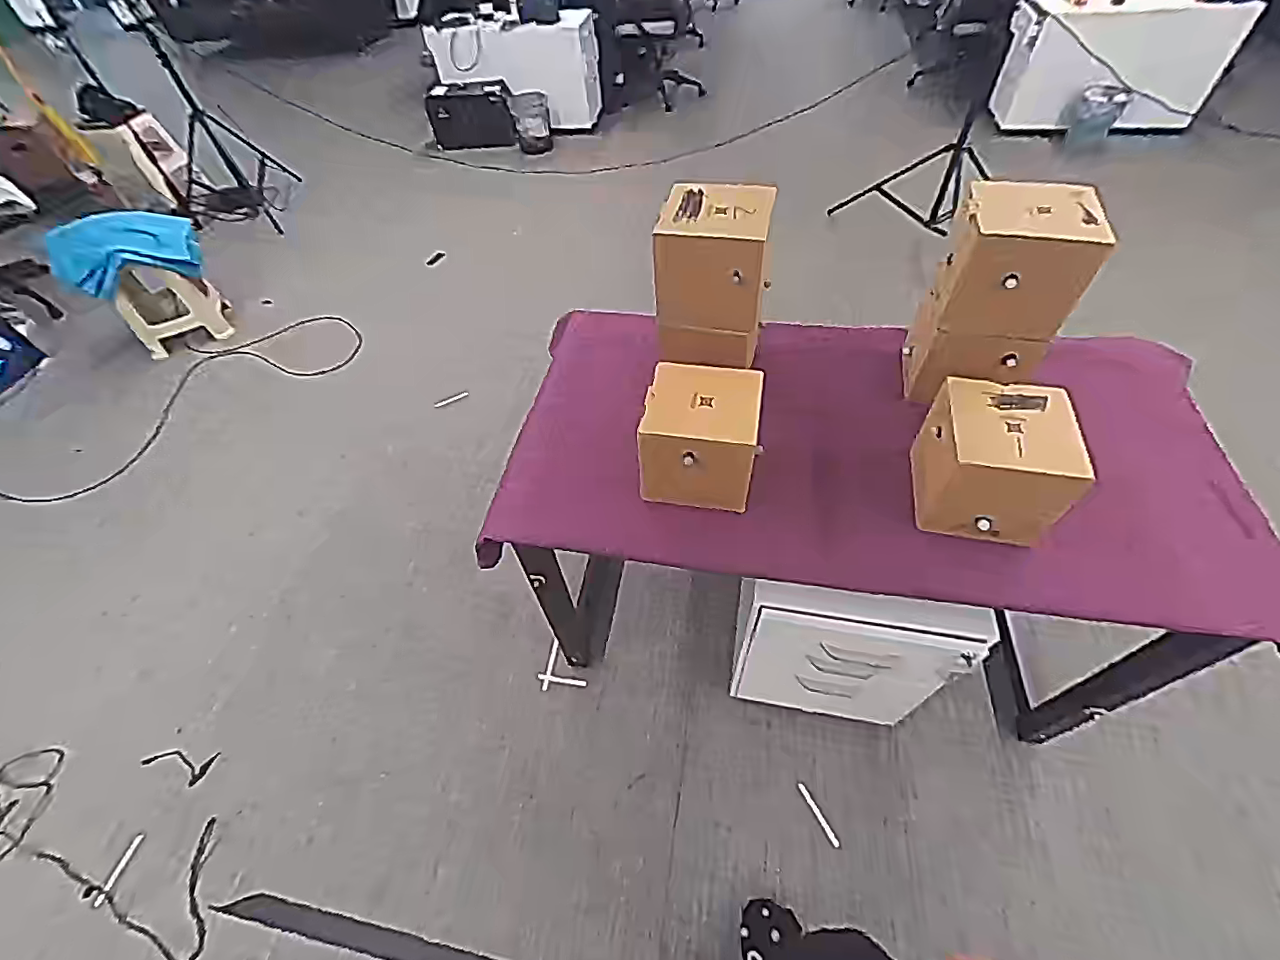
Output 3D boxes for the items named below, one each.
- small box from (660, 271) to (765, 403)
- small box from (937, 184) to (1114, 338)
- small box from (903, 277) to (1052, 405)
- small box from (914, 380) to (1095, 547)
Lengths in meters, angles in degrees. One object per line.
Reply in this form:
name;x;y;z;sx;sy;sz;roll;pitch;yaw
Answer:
small box;0.142;-0.278;1.054;0.168;0.176;0.179;10;56;14
small box;0.588;-0.346;0.859;0.179;0.176;0.168;9;55;13
small box;0.601;-0.244;0.988;0.179;0.176;0.168;9;54;12
small box;0.530;-0.025;0.821;0.168;0.176;0.179;8;52;12
